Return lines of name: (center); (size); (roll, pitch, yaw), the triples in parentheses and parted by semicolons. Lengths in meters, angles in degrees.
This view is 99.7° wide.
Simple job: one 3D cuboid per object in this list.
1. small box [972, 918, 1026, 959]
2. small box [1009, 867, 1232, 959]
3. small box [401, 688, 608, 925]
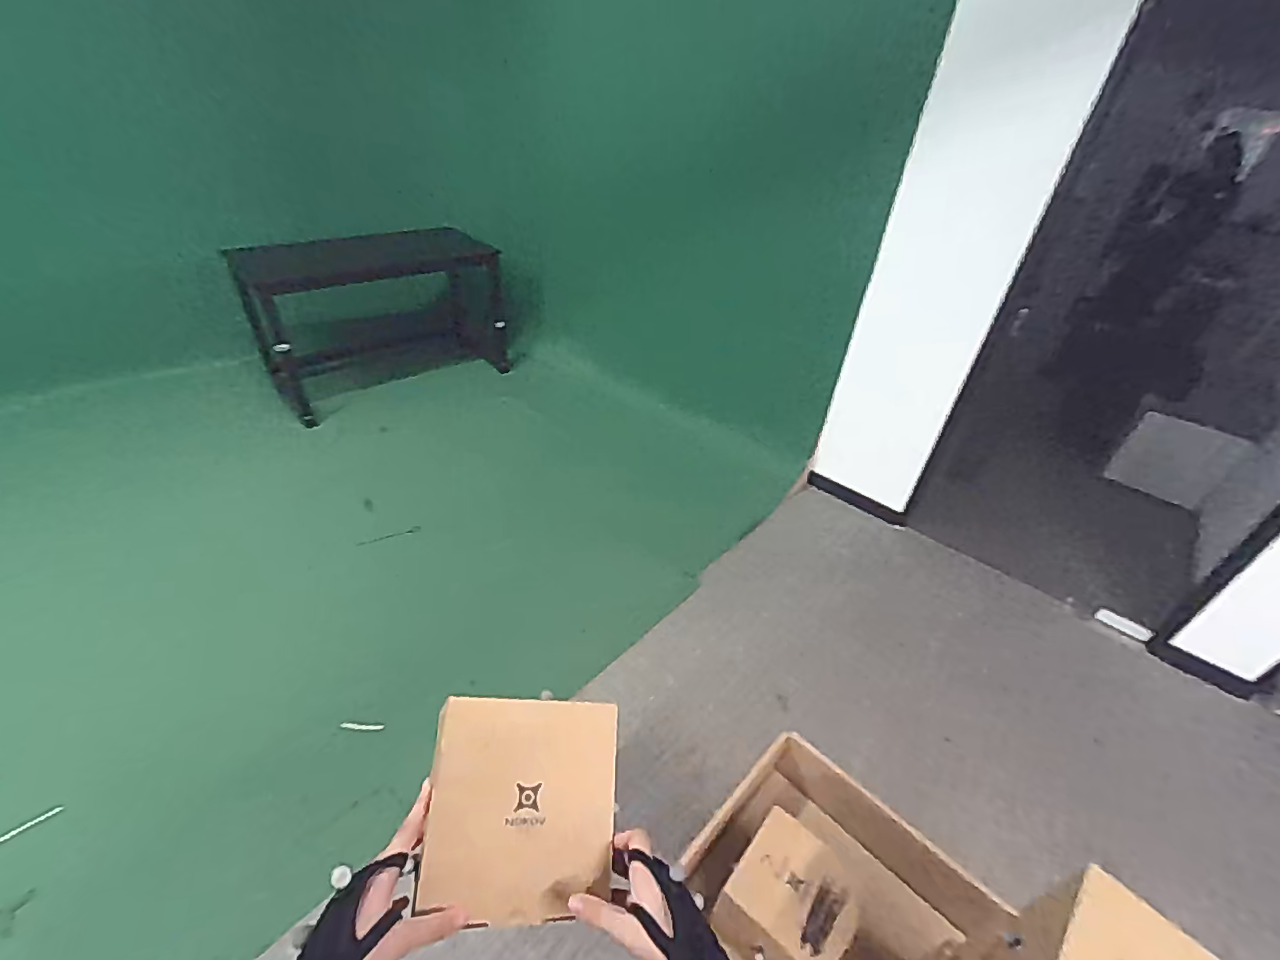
small box: (0.463, 0.672, 0.620); (0.168, 0.176, 0.179); (-26, 46, -34)
small box: (0.484, 0.540, 0.526); (0.168, 0.176, 0.179); (-26, 45, -35)
small box: (-0.136, 0.316, 0.547); (0.168, 0.176, 0.179); (9, 62, -17)
